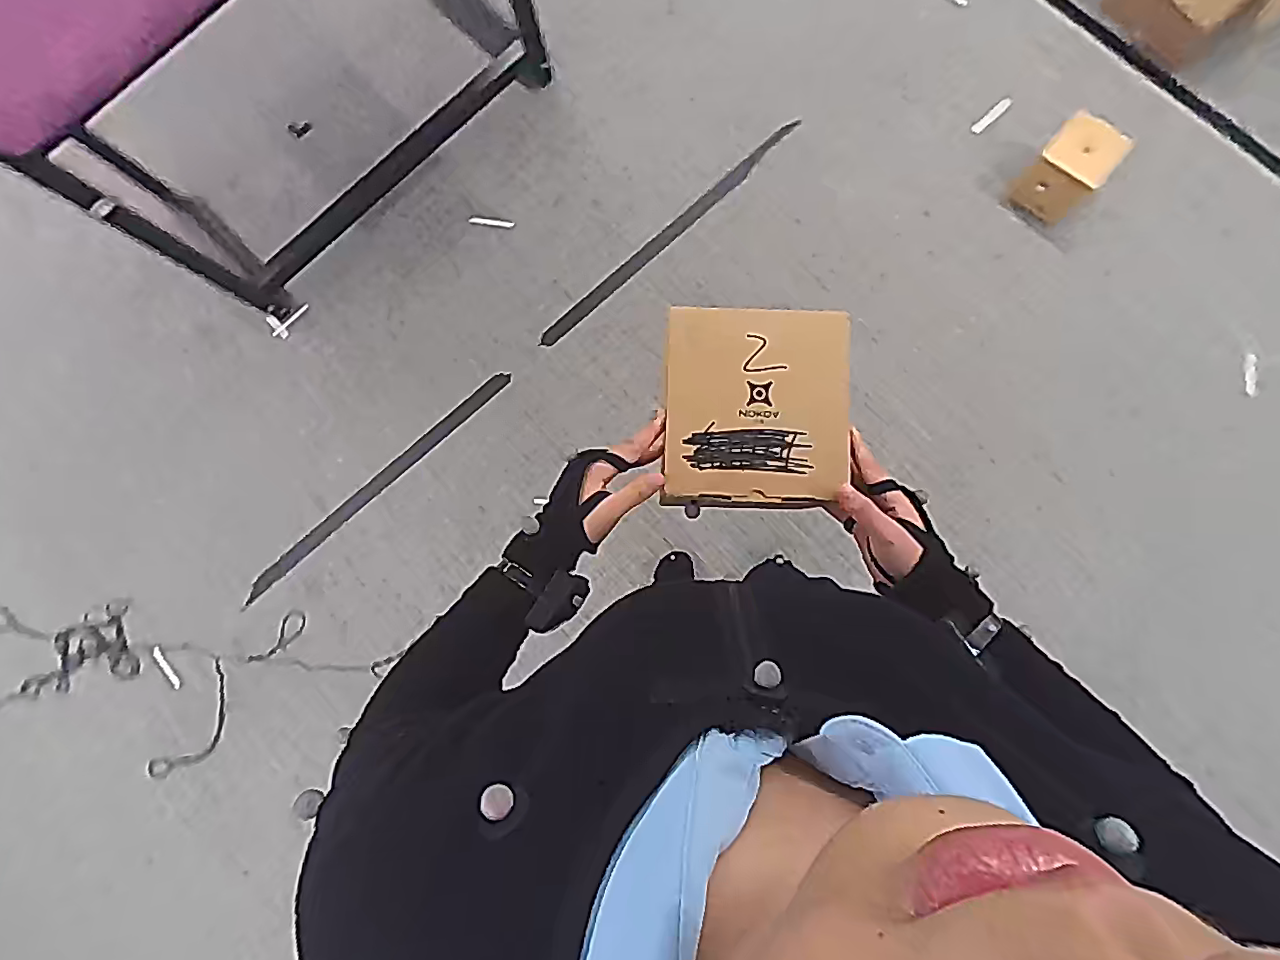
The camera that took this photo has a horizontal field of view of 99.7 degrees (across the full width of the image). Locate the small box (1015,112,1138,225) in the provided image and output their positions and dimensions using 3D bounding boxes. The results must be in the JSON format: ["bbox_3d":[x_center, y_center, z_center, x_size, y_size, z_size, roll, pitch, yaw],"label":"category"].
[{"bbox_3d":[1.190,-0.851,1.495,0.168,0.176,0.179,41,86,8],"label":"small box"}]
